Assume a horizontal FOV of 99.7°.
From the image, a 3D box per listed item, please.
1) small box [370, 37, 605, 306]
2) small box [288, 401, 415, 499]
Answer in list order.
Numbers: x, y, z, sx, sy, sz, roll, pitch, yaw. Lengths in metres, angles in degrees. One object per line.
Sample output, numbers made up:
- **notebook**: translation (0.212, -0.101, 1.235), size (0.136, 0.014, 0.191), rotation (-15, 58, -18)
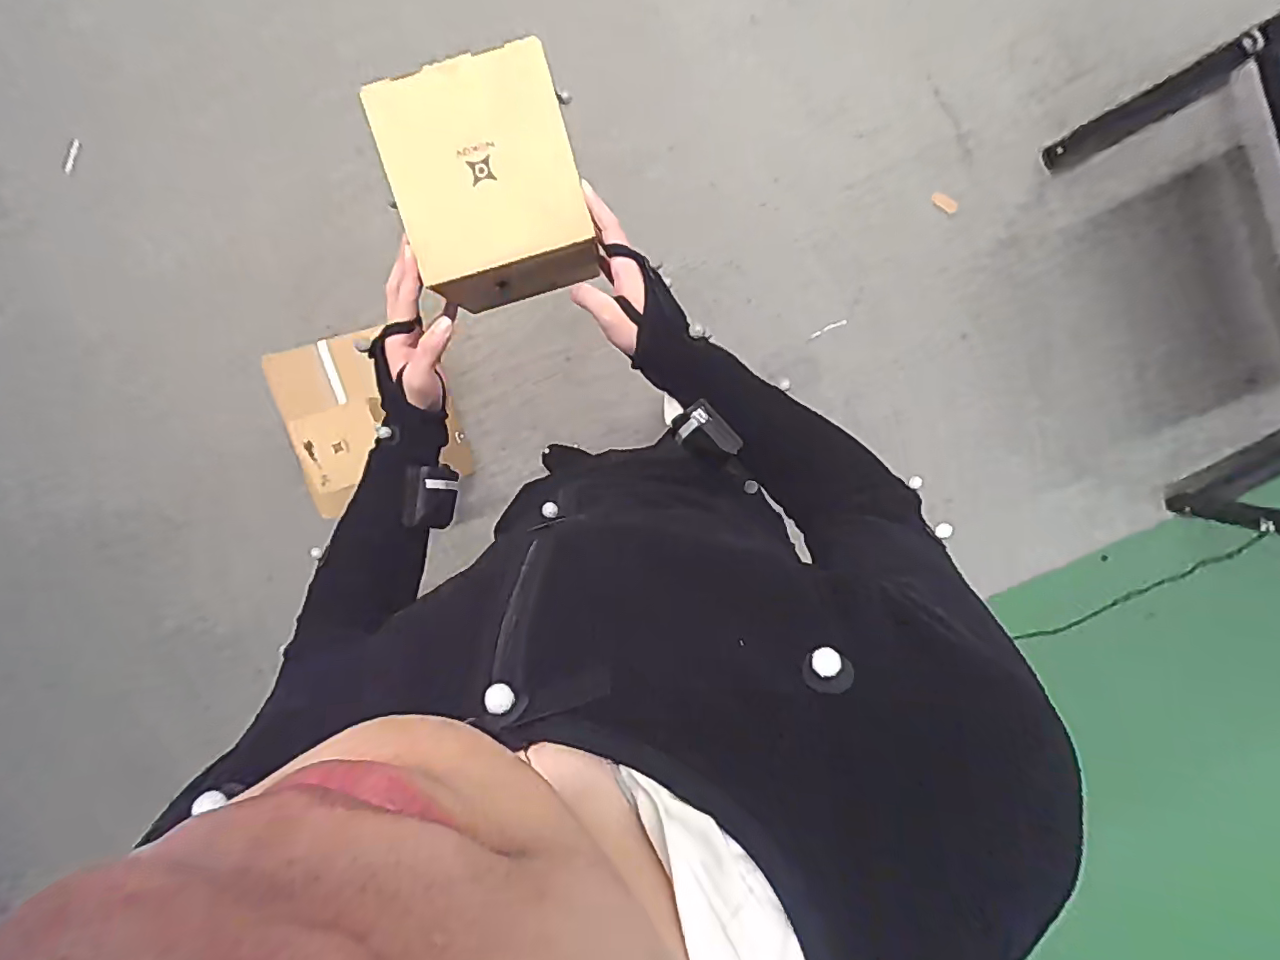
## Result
- **small box**: translation (-0.136, -0.291, 0.559), size (0.168, 0.176, 0.179), rotation (-16, 98, 0)
- **small box**: translation (-0.628, -0.075, 1.209), size (0.179, 0.176, 0.168), rotation (-20, 99, -1)
